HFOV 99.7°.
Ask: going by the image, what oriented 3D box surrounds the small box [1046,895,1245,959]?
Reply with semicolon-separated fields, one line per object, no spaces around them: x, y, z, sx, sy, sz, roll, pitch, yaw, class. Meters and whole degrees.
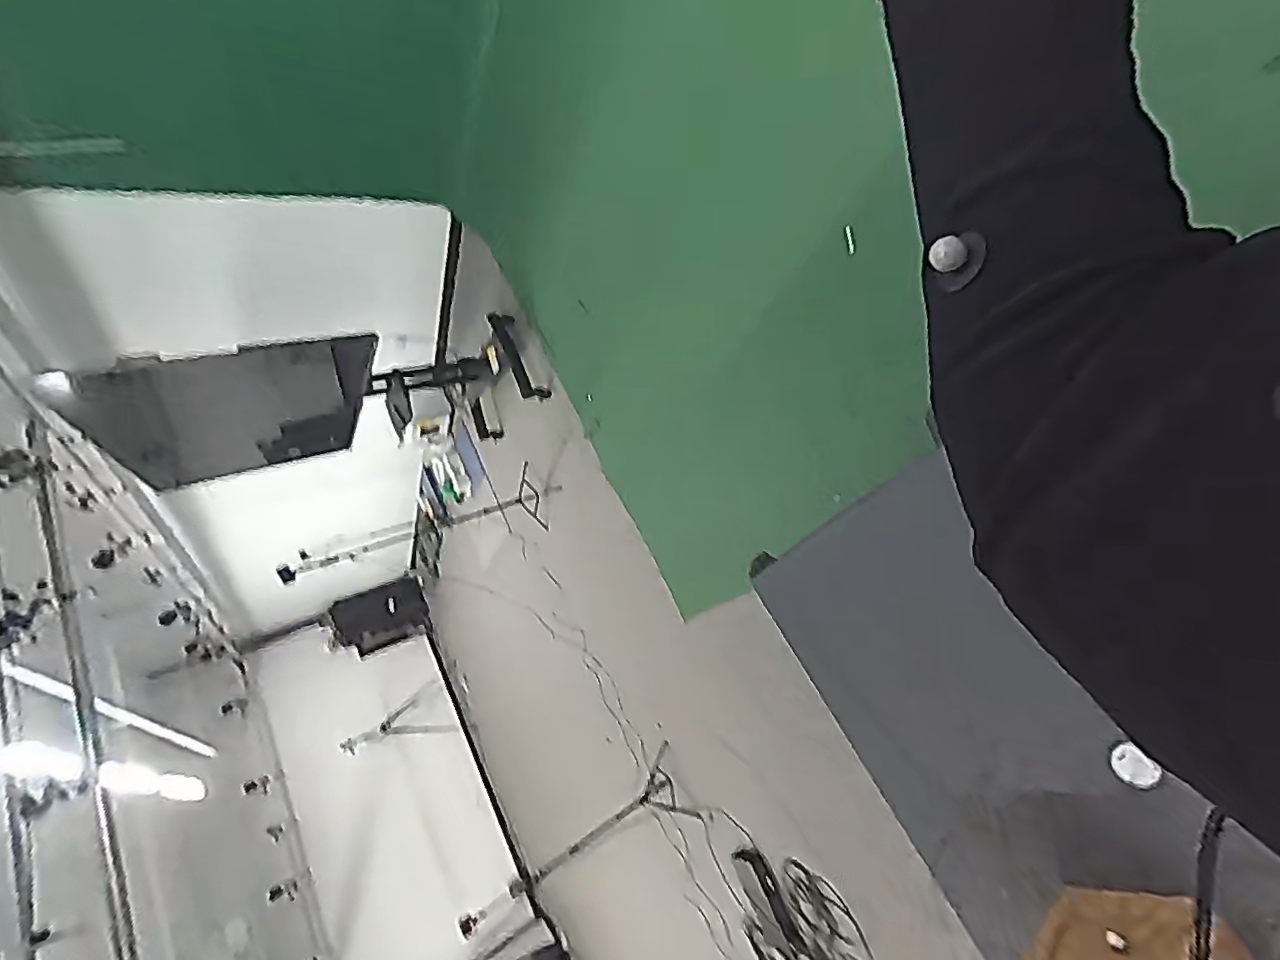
0.629;0.640;0.647;0.168;0.176;0.179;60;145;18;small box
